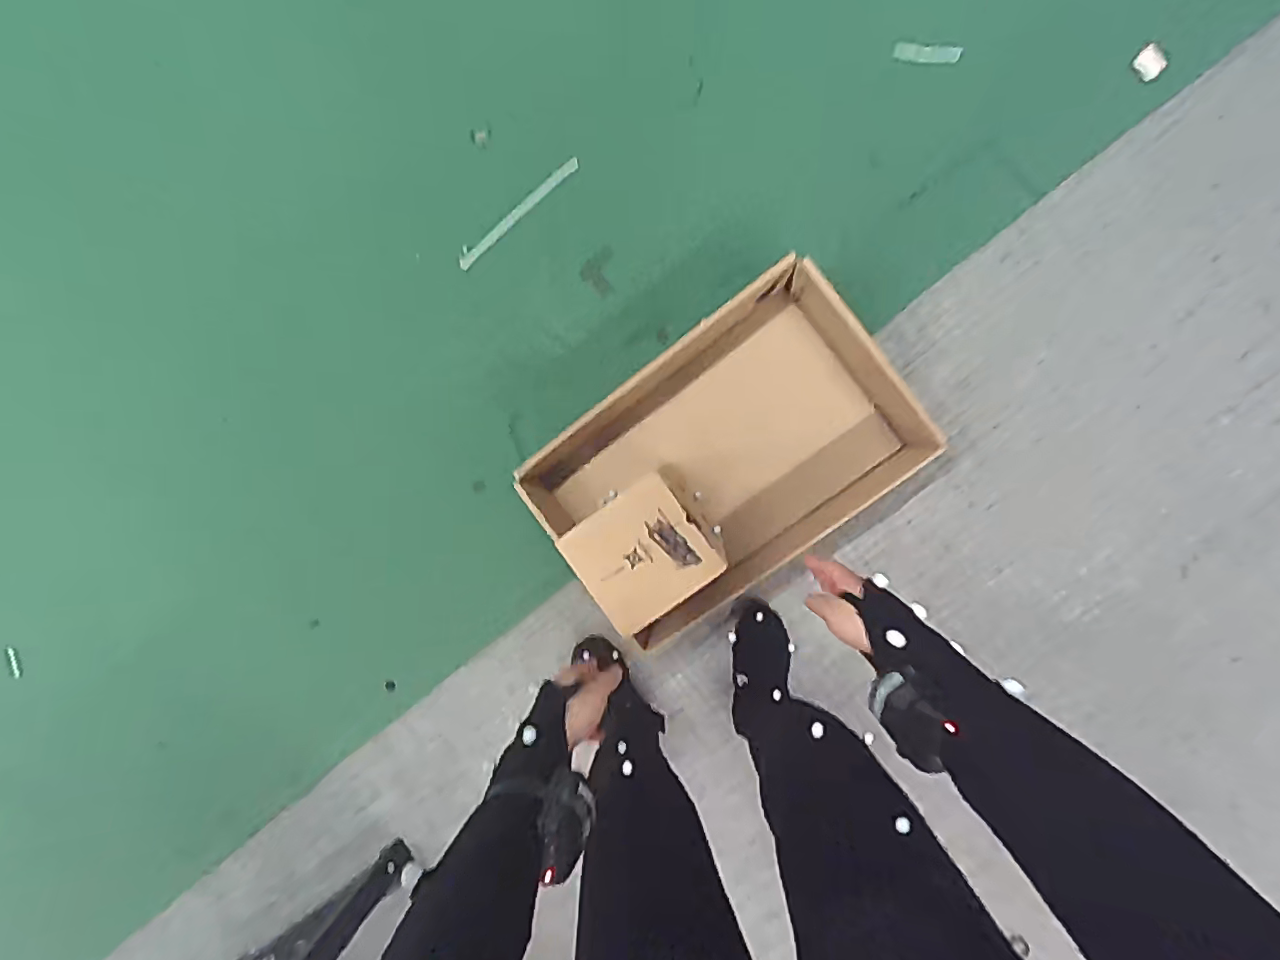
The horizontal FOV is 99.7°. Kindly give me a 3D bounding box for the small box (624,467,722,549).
[{"bbox_3d":[0.029,0.092,0.963,0.179,0.176,0.168,-37,89,6],"label":"small box"}]

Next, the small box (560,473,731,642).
[{"bbox_3d":[0.013,0.100,0.799,0.179,0.176,0.168,-36,88,7],"label":"small box"}]
